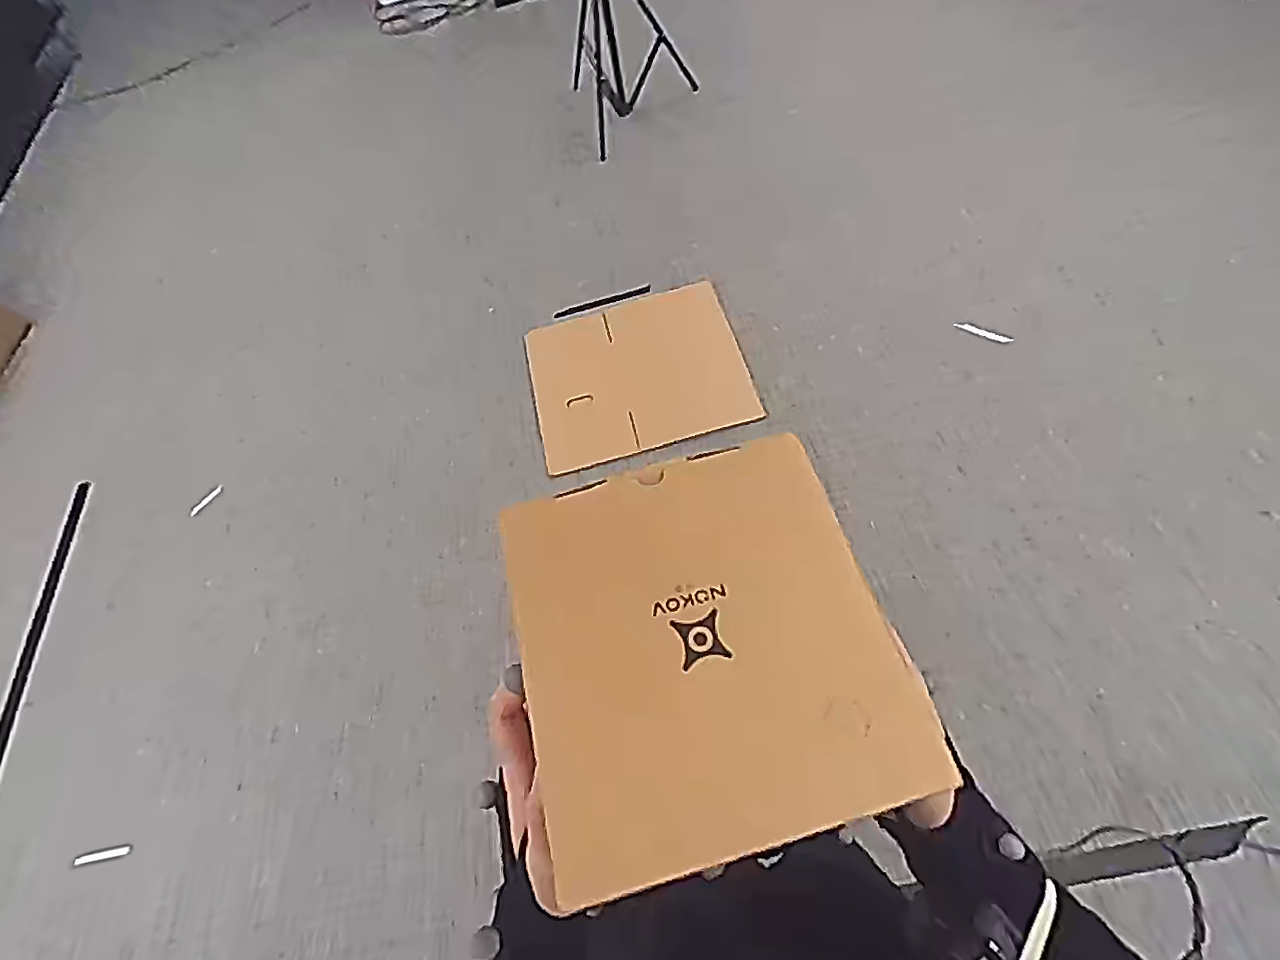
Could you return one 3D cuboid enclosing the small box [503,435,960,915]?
[{"bbox_3d":[0.034,0.105,0.315,0.168,0.176,0.179,-15,62,-3],"label":"small box"}]
